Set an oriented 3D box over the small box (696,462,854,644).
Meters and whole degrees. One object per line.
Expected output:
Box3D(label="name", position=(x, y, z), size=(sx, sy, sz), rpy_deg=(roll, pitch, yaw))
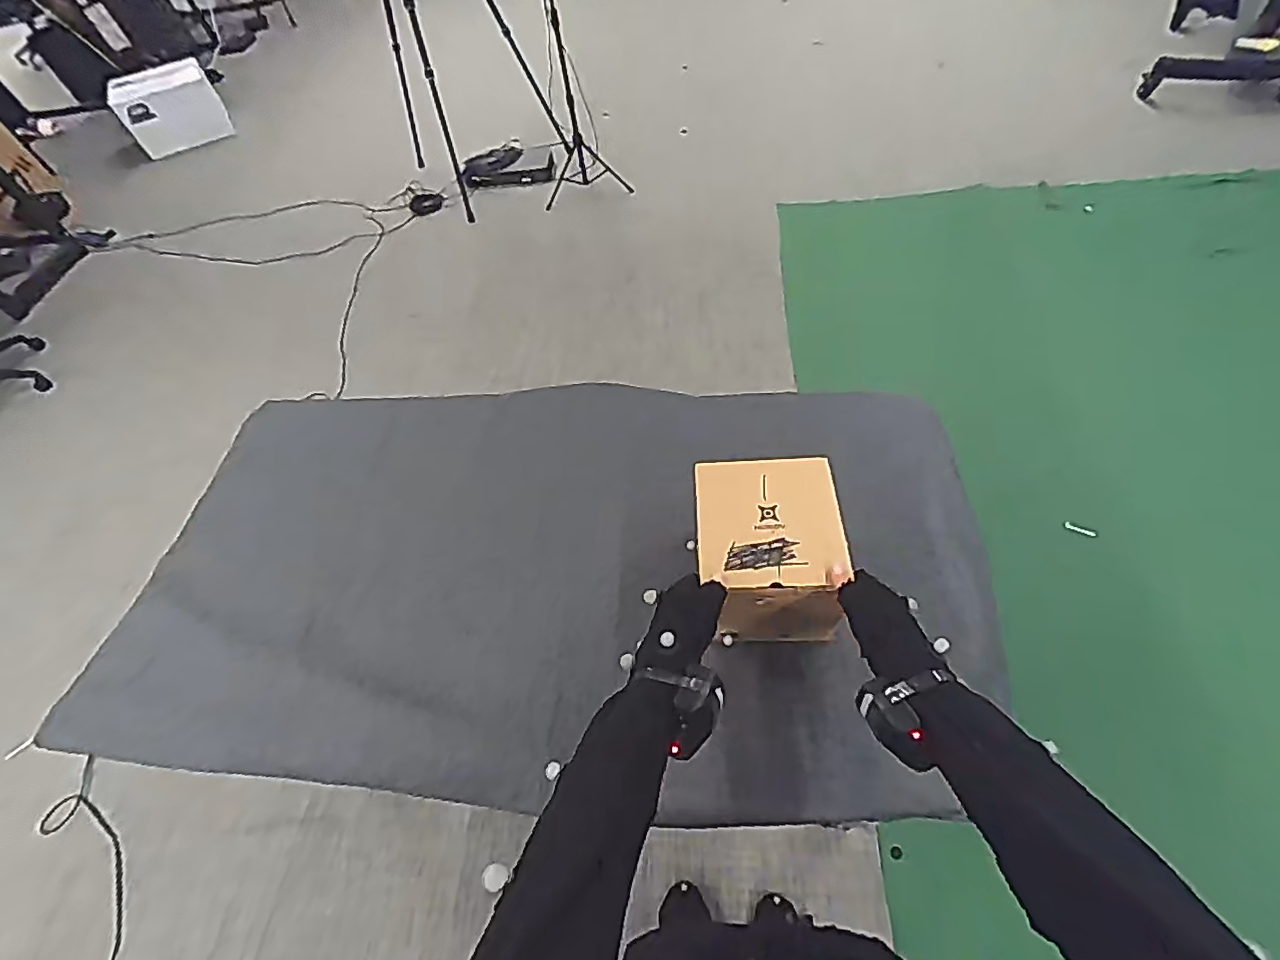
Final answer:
Box3D(label="small box", position=(0.158, 0.098, 0.682), size=(0.168, 0.176, 0.179), rpy_deg=(-2, 52, 7))
